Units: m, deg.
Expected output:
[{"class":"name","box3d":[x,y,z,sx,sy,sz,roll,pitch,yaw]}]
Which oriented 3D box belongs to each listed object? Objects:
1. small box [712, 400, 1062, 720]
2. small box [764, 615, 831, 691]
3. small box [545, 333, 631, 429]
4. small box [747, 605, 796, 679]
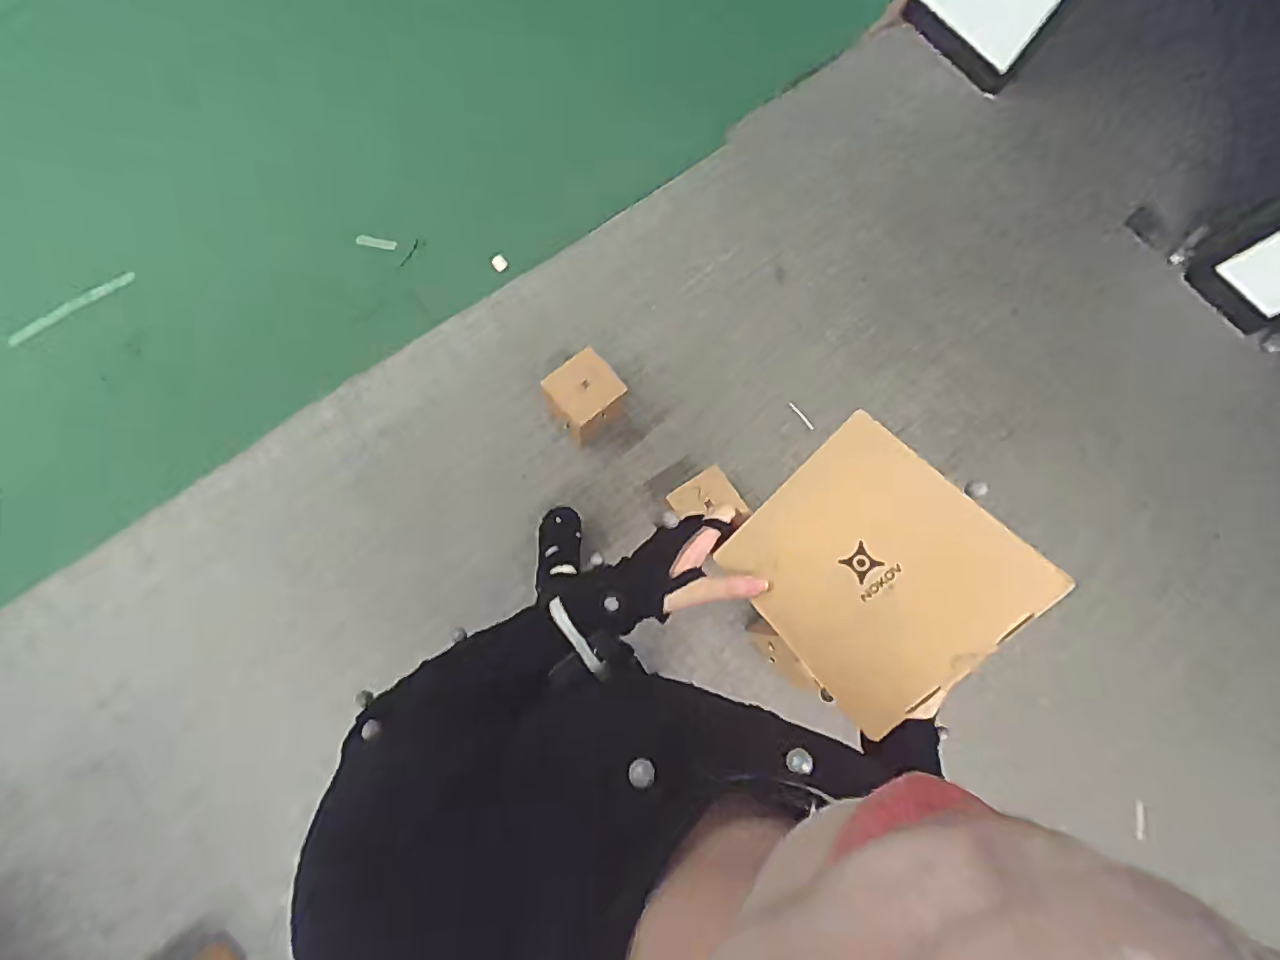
[{"class":"small box","box3d":[0.198,0.065,0.460,0.168,0.176,0.179,-47,64,14]},{"class":"small box","box3d":[0.408,0.356,1.248,0.179,0.176,0.168,-32,82,-12]},{"class":"small box","box3d":[-0.143,-0.267,1.507,0.179,0.176,0.168,-38,84,-12]},{"class":"small box","box3d":[0.399,0.390,1.409,0.179,0.176,0.168,-34,83,-10]}]
